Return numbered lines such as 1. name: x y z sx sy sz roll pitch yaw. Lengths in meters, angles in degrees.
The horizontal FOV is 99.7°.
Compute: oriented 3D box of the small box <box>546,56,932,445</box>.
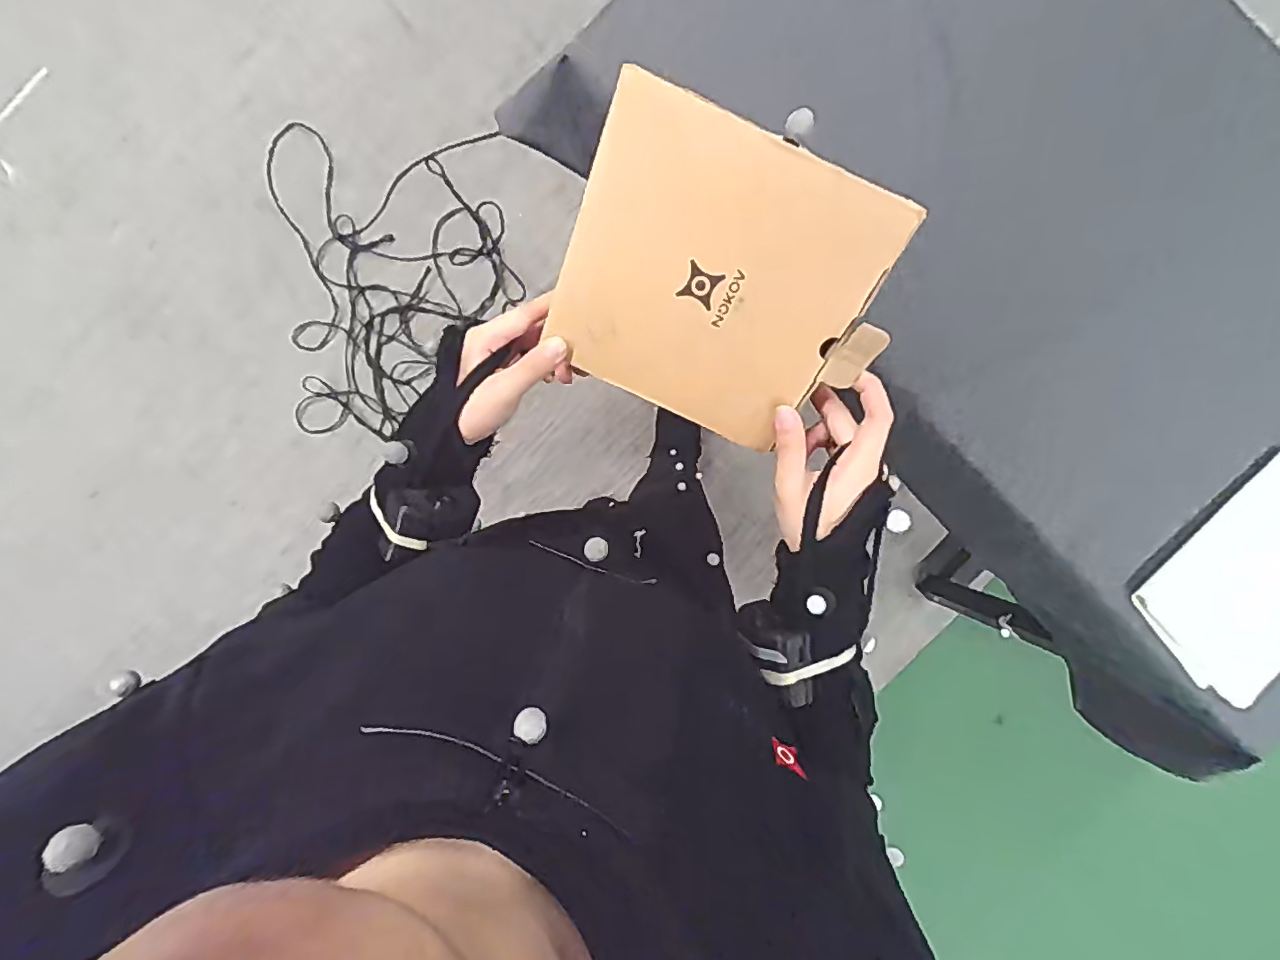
1. small box: 0.059 -0.158 0.387 0.179 0.176 0.168 24 123 -3
